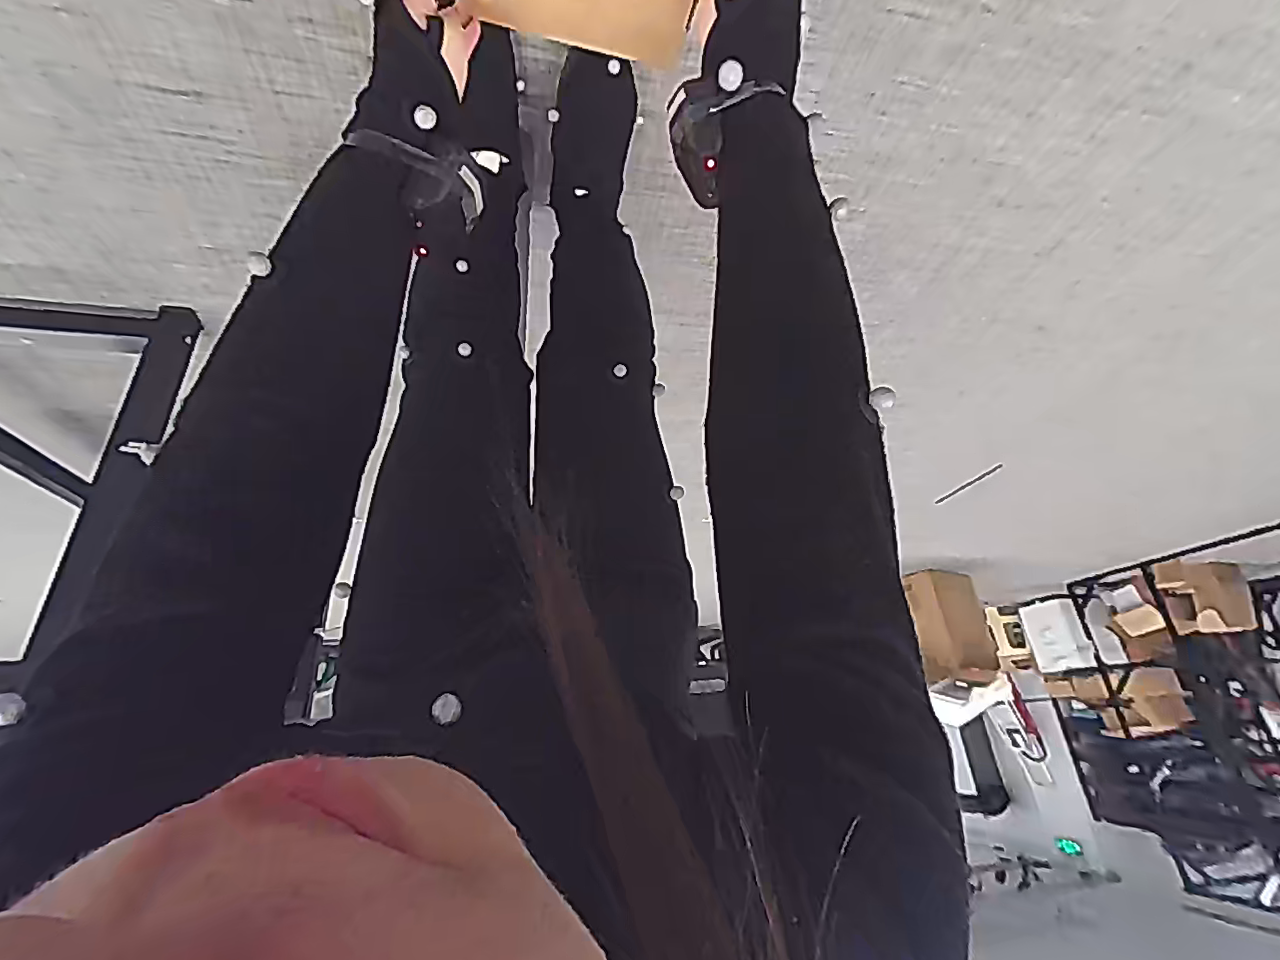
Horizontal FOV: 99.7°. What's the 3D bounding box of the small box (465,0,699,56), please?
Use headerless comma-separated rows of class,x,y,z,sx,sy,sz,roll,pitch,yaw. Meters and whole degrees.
small box,-0.032,-0.448,0.369,0.179,0.176,0.168,3,159,-15
